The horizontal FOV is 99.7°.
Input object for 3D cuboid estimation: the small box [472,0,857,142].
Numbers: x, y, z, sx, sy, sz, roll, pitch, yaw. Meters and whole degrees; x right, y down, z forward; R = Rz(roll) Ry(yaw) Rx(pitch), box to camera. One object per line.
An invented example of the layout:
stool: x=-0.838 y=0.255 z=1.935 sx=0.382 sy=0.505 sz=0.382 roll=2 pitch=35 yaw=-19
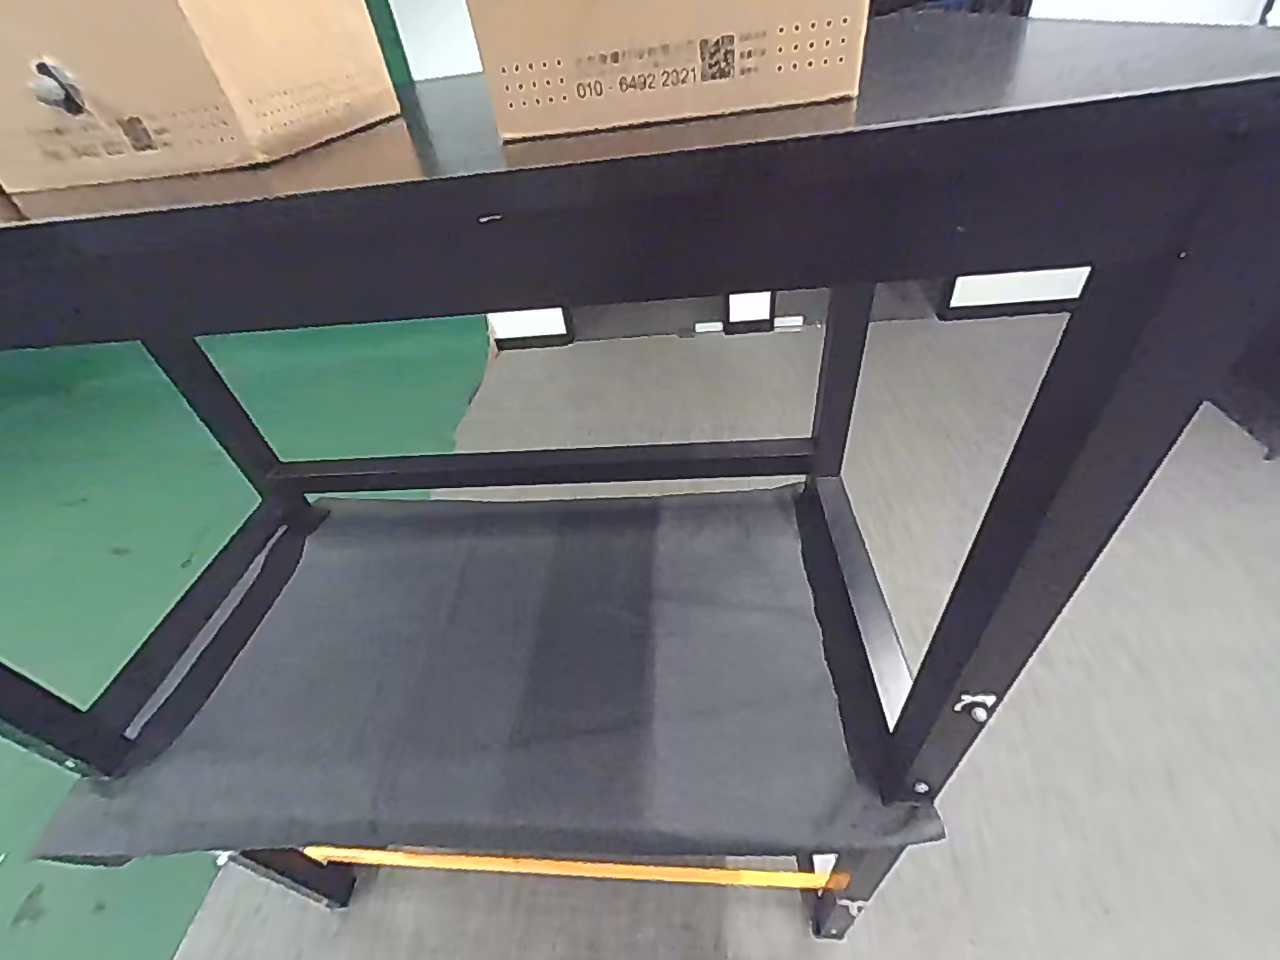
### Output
small box: x=0.011 y=-0.276 z=0.261 sx=0.168 sy=0.176 sz=0.179 roll=-2 pitch=41 yaw=7
